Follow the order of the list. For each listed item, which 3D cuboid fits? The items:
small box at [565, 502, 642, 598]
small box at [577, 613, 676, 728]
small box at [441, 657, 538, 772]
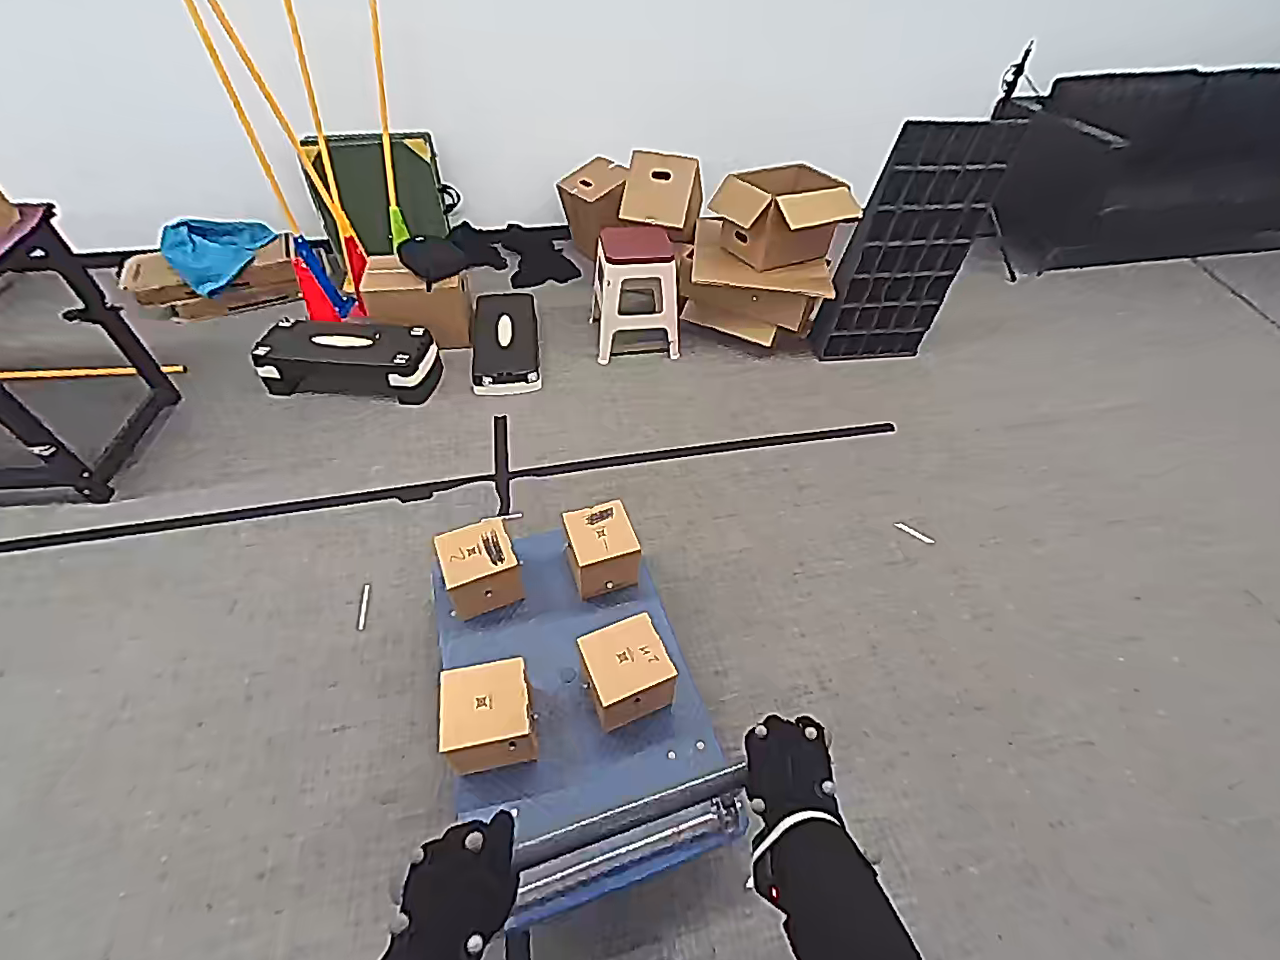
[{"bbox_3d":[-0.104,0.191,1.472,0.168,0.176,0.179,-14,51,-15],"label":"small box"},{"bbox_3d":[-0.033,0.443,1.248,0.179,0.176,0.168,-17,51,-17],"label":"small box"},{"bbox_3d":[-0.323,0.510,1.173,0.179,0.176,0.168,-7,48,-11],"label":"small box"}]
